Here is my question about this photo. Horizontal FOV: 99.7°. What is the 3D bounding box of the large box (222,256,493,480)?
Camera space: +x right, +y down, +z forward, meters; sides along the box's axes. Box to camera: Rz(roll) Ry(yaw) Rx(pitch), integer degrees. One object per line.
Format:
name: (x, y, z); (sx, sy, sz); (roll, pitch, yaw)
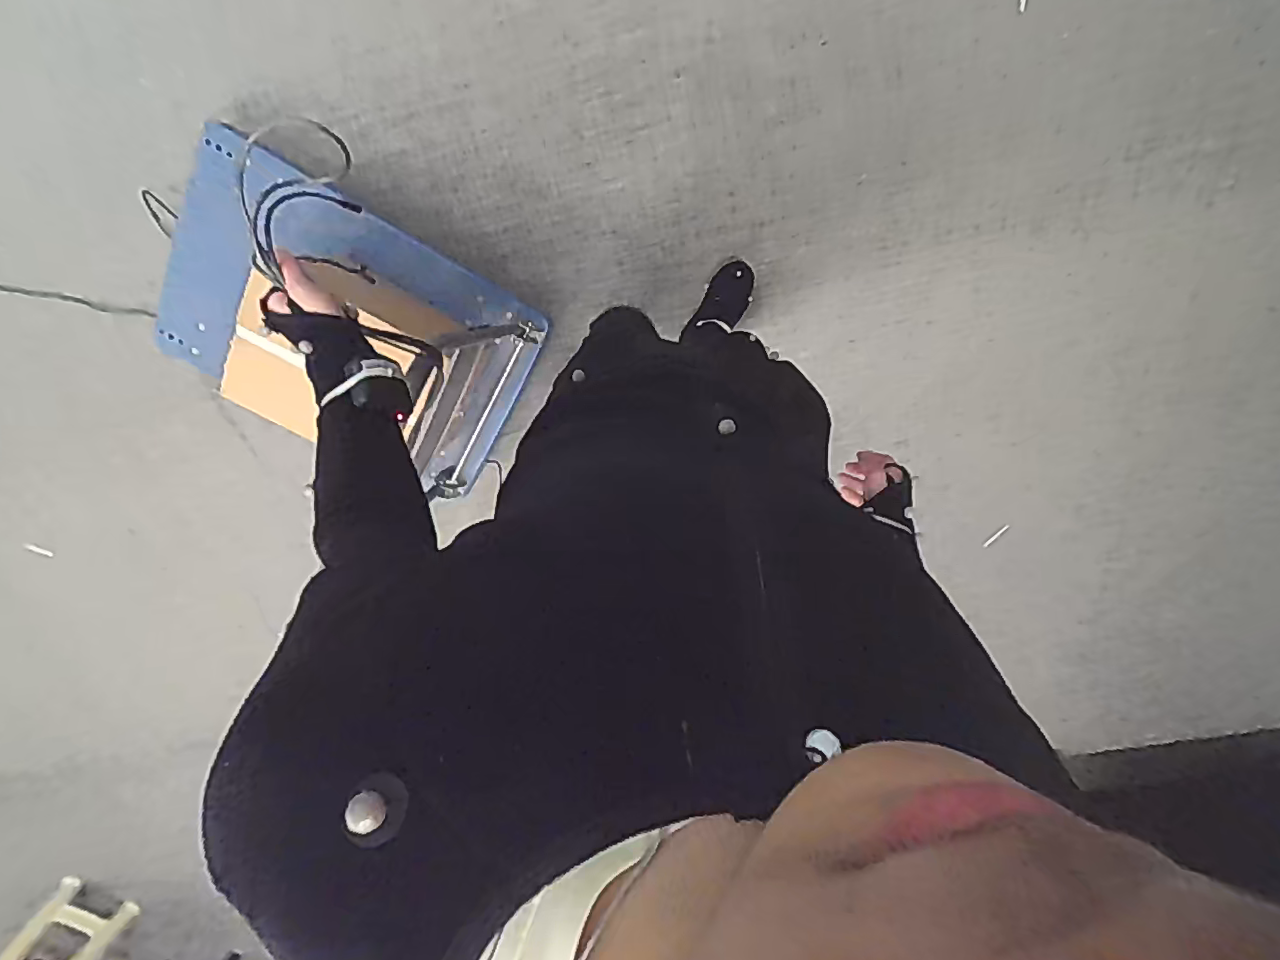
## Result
large box: (-0.610, -0.263, 1.228); (0.408, 0.320, 0.320); (29, 109, -9)
